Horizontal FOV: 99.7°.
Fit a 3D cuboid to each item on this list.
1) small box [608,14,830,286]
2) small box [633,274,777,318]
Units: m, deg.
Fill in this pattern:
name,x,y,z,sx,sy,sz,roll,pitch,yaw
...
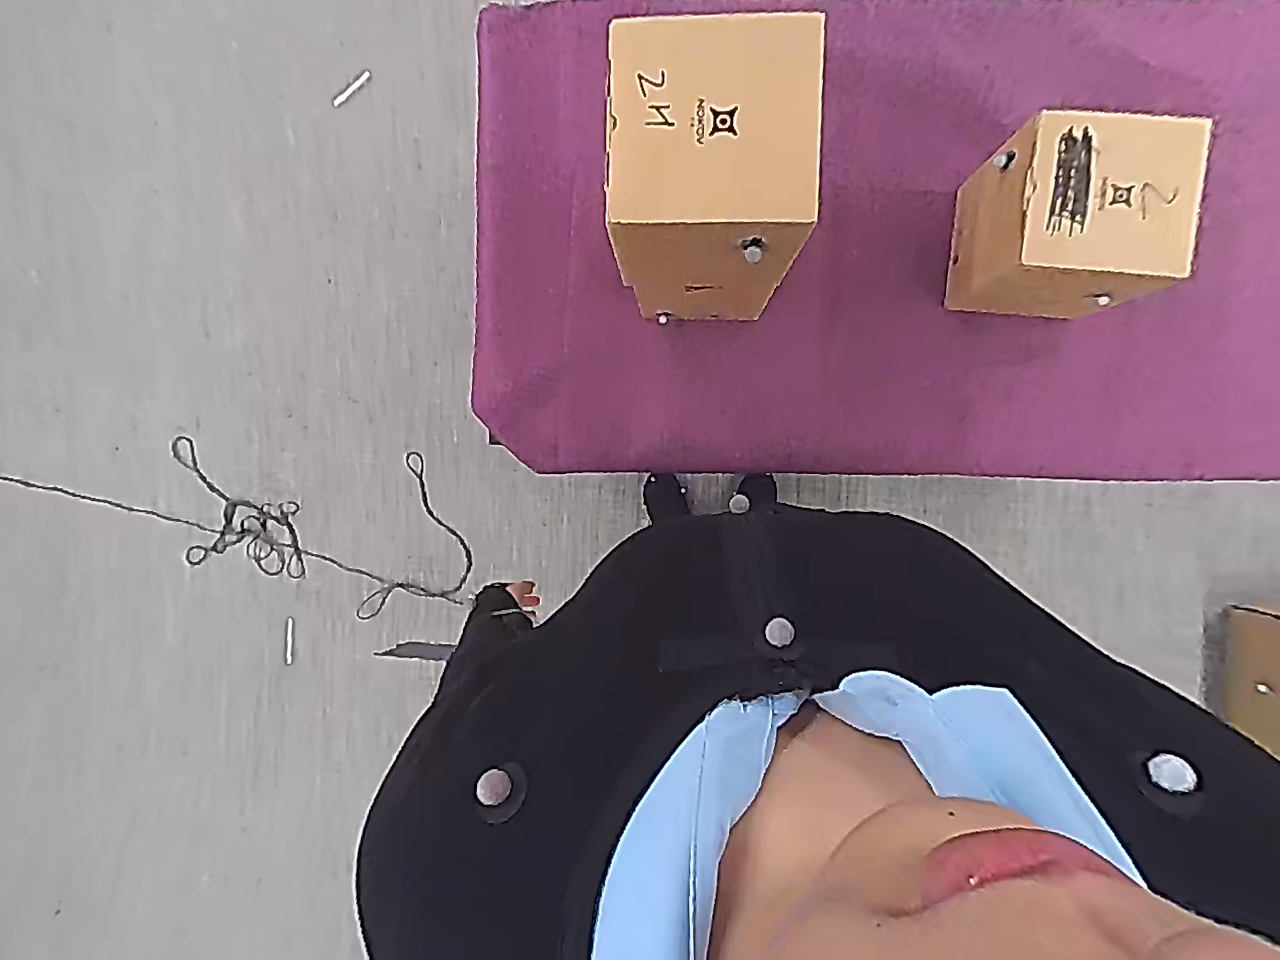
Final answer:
name,x,y,z,sx,sy,sz,roll,pitch,yaw
small box,0.067,-0.295,0.518,0.179,0.176,0.168,2,92,4
small box,0.082,-0.311,0.682,0.168,0.176,0.179,2,92,4
